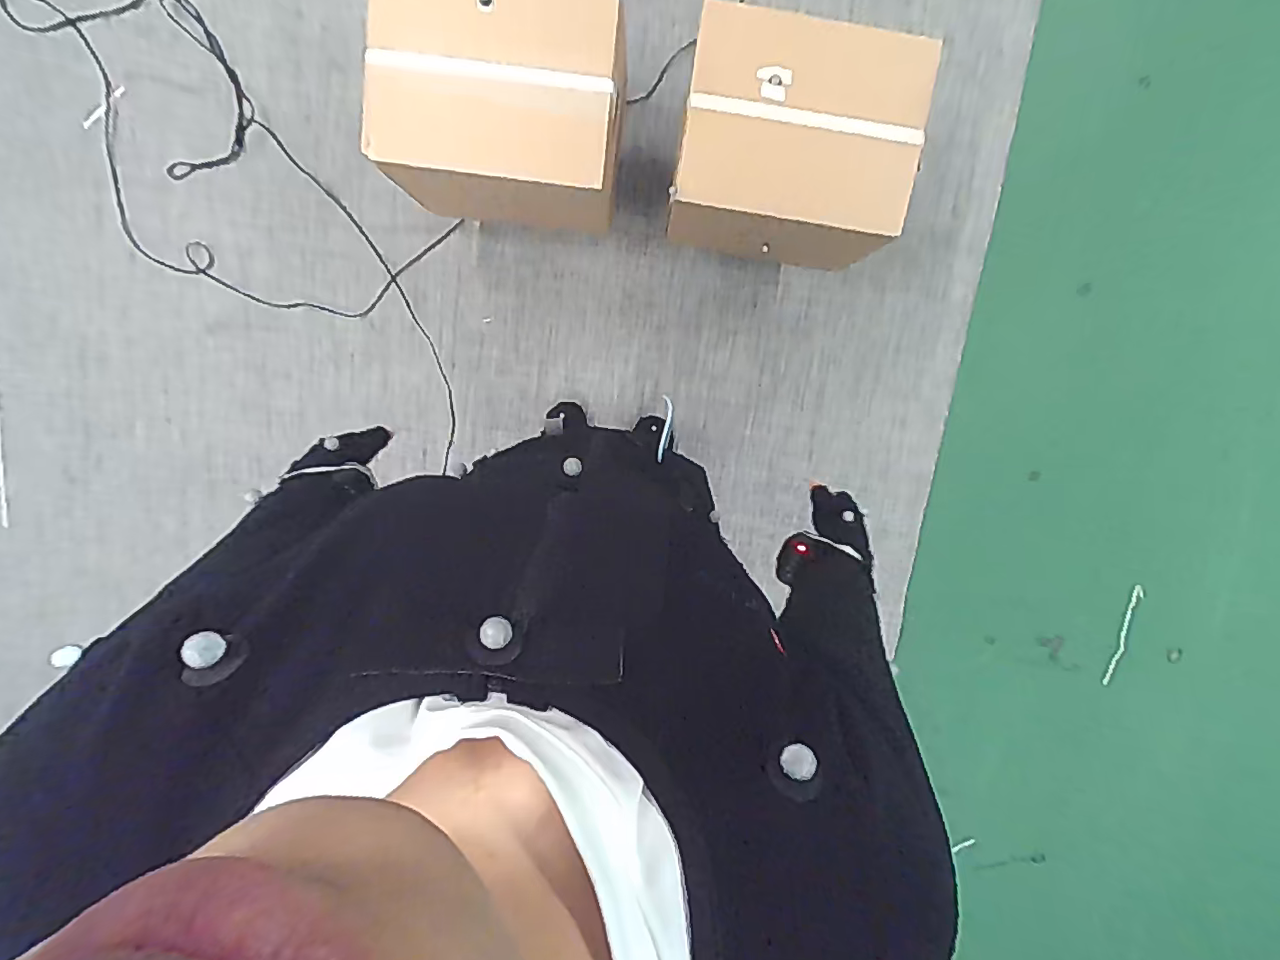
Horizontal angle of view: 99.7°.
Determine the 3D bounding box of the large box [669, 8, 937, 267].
[{"bbox_3d":[0.284,-0.635,1.073,0.408,0.320,0.320,9,100,-2],"label":"large box"}]
